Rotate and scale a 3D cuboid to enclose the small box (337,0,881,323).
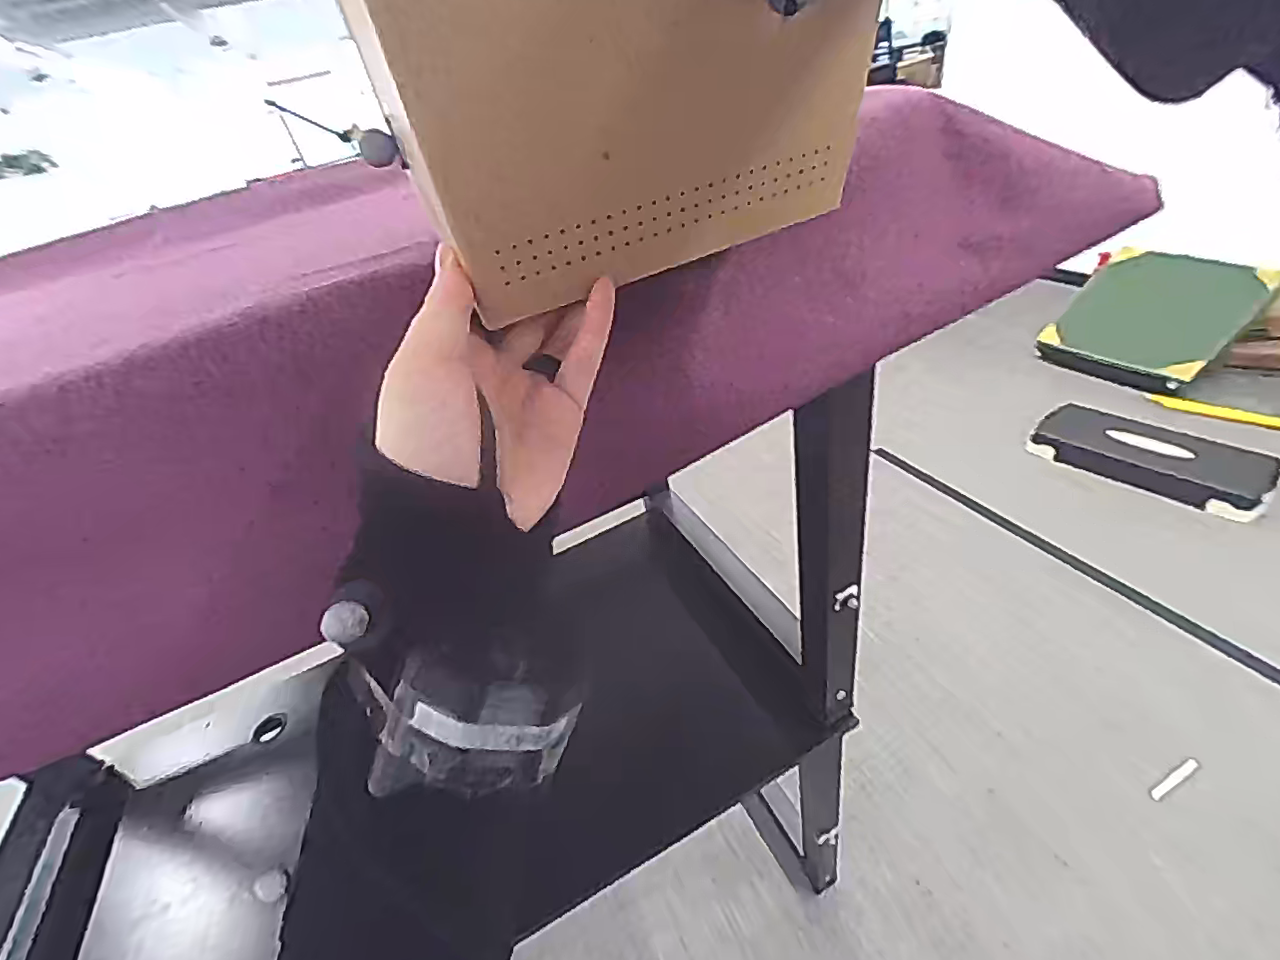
[{"bbox_3d":[-0.023,-0.194,0.210,0.179,0.176,0.168,-24,55,-12],"label":"small box"}]
